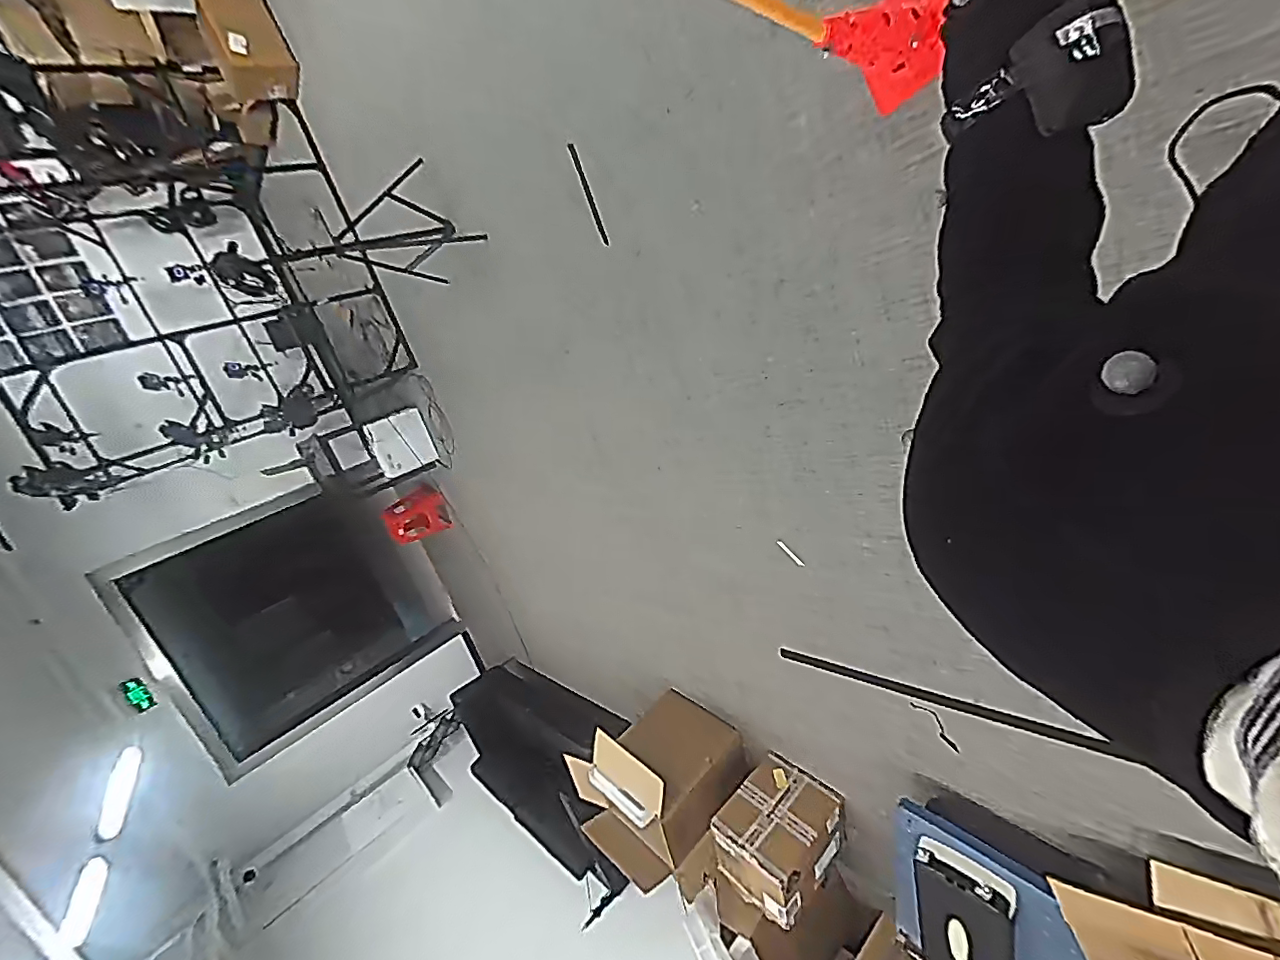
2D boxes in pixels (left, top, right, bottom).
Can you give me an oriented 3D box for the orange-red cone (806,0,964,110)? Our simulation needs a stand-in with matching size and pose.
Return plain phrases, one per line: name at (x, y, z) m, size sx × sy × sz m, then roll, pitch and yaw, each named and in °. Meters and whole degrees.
orange-red cone at (0.429, -0.849, 1.034) m, size 0.199 × 0.360 × 0.198 m, roll -13°, pitch 104°, yaw 56°
